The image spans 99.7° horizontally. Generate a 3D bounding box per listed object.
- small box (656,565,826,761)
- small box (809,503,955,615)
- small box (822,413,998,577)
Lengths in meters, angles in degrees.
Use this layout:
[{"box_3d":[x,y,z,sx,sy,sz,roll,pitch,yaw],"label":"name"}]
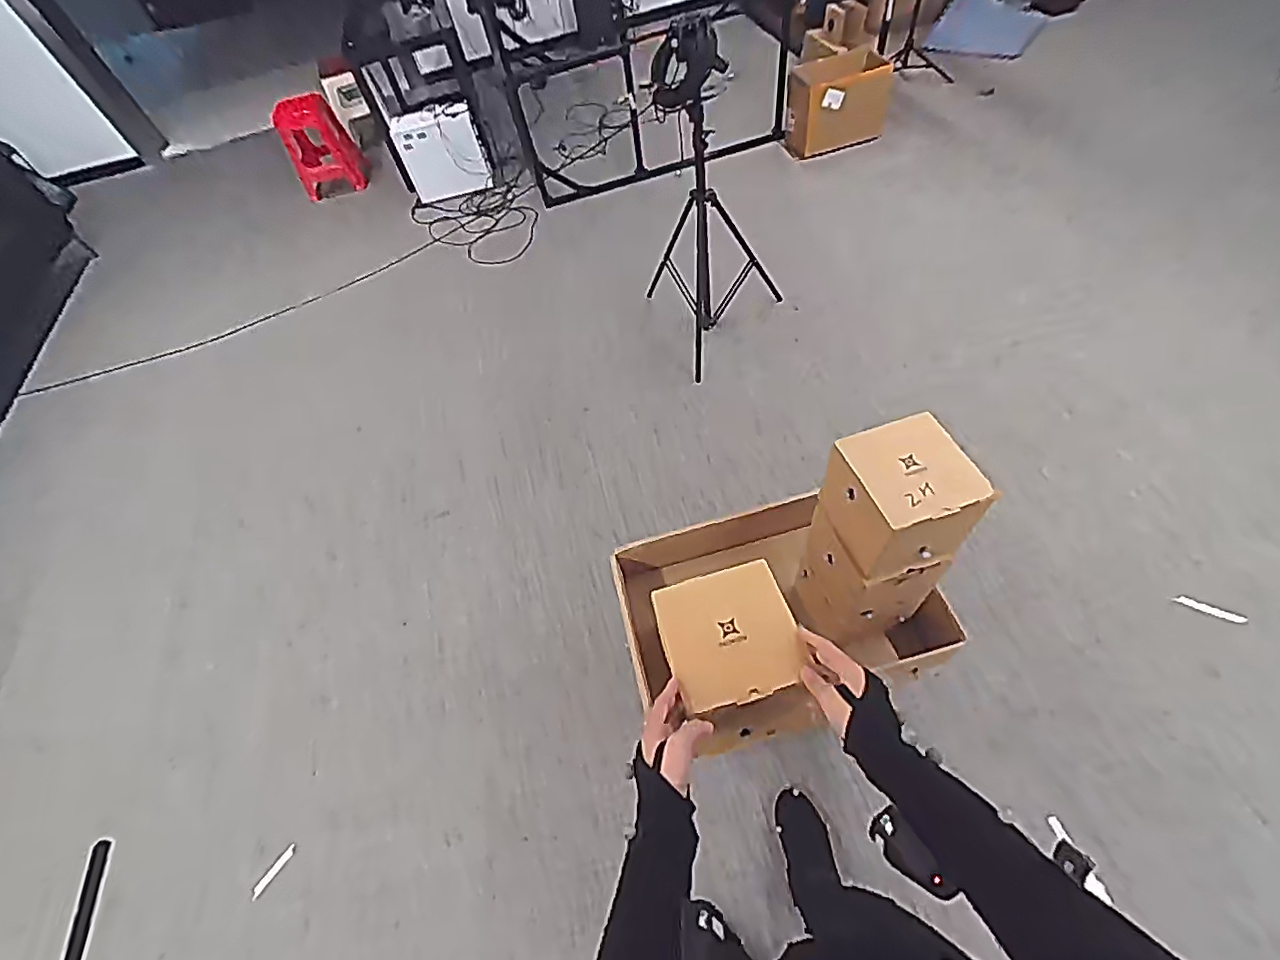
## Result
[{"box_3d":[0.128,0.248,0.732,0.168,0.176,0.179,-16,48,-3],"label":"small box"},{"box_3d":[0.430,0.132,0.995,0.168,0.176,0.179,-18,55,-4],"label":"small box"},{"box_3d":[0.413,0.028,0.868,0.168,0.176,0.179,-18,56,-4],"label":"small box"}]
